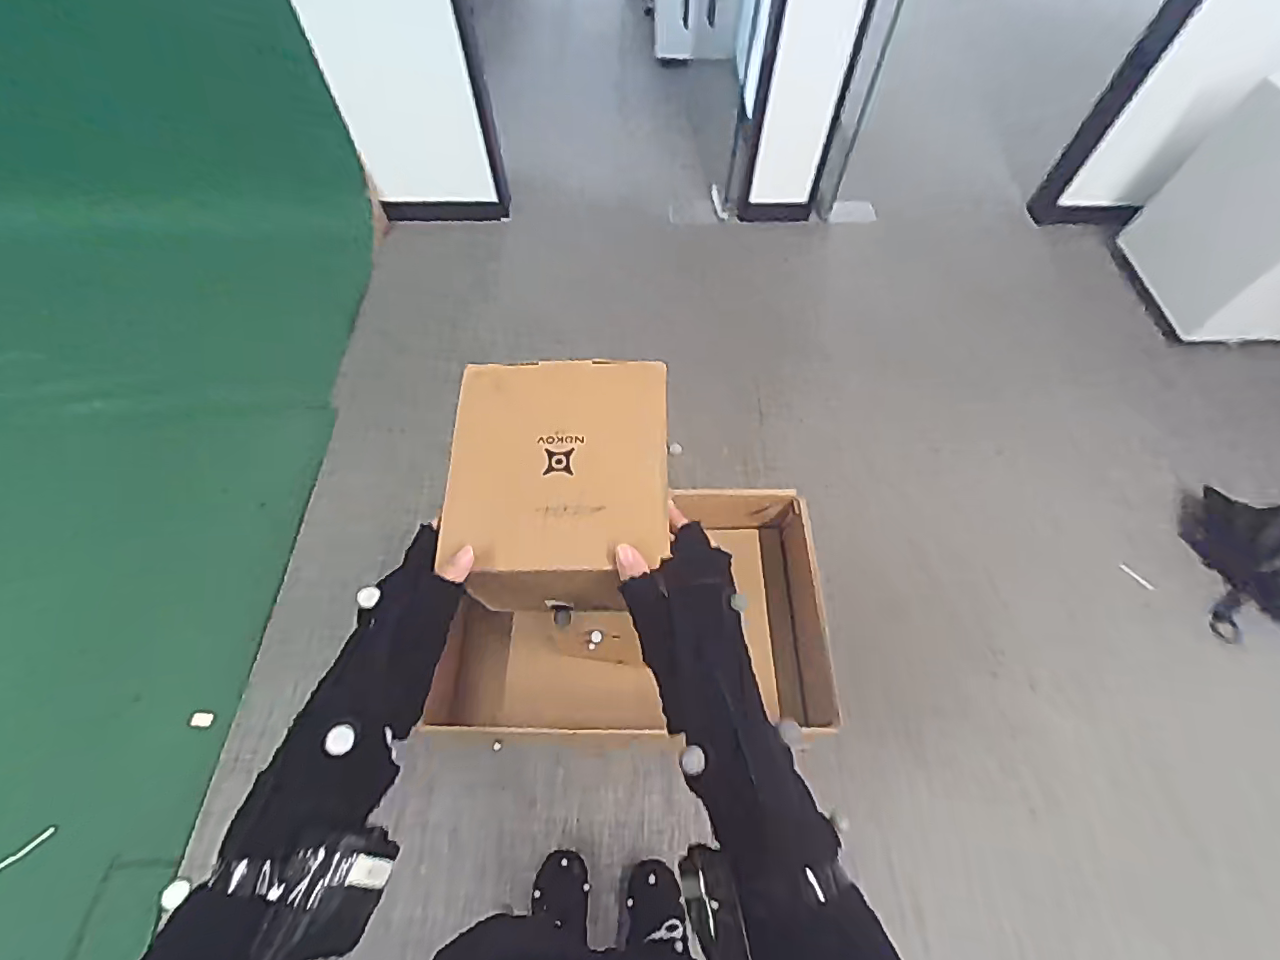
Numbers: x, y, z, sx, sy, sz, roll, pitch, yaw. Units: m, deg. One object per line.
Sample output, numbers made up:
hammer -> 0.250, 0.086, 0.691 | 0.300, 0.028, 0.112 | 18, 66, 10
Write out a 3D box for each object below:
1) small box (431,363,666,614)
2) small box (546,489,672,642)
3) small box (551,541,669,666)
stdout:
small box -> -0.063, 0.016, 0.480 | 0.168, 0.176, 0.179 | -1, 67, 1
small box -> -0.048, 0.120, 0.780 | 0.168, 0.176, 0.179 | 5, 61, 2
small box -> -0.045, 0.202, 0.922 | 0.168, 0.176, 0.179 | 7, 59, 4
